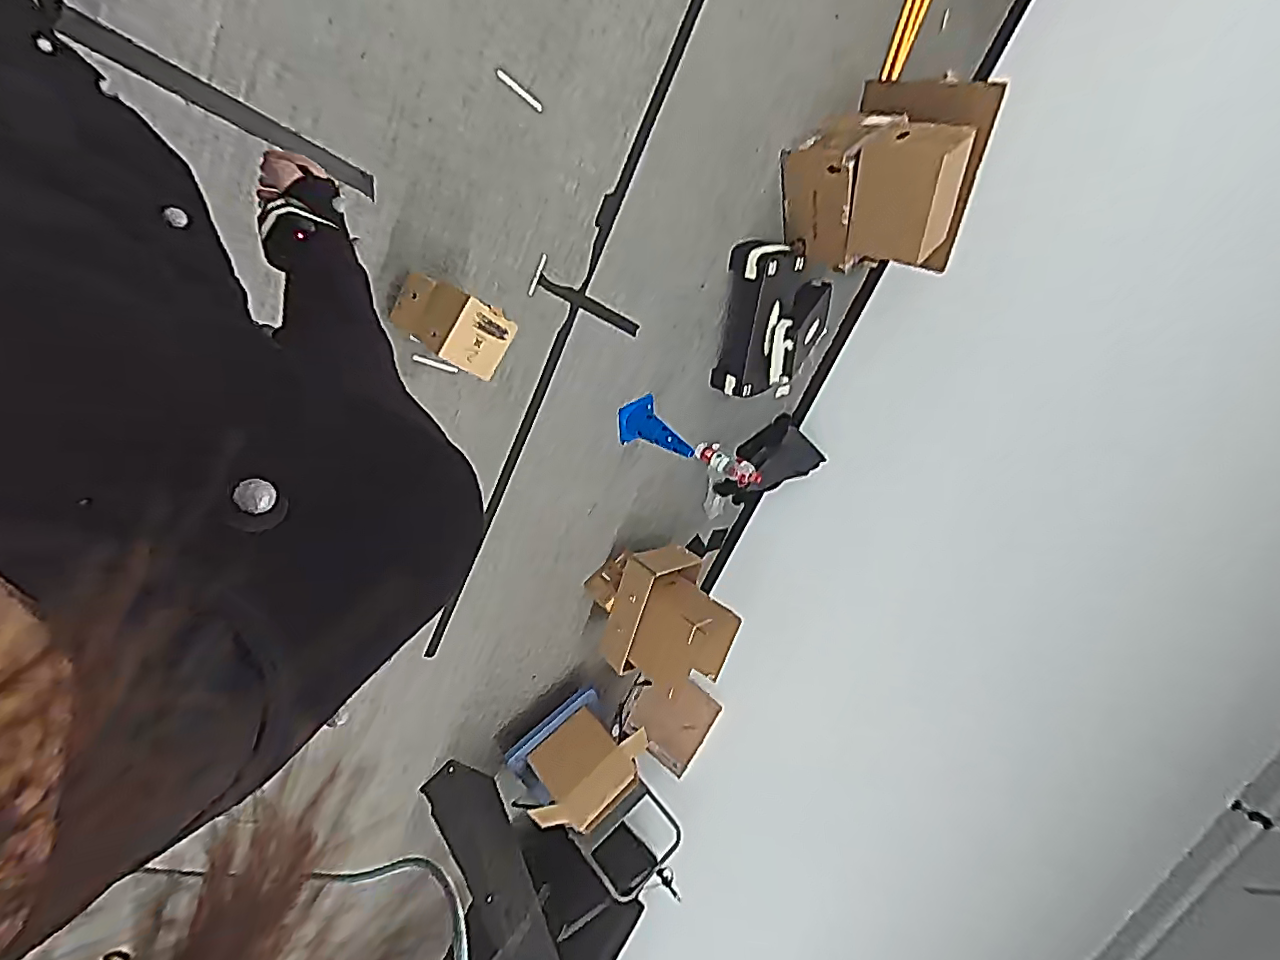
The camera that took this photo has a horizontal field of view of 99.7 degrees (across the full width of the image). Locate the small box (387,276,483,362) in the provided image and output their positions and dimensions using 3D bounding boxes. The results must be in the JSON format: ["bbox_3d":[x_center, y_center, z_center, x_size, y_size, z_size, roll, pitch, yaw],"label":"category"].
[{"bbox_3d":[-0.590,-0.463,1.545,0.179,0.176,0.168,16,105,-52],"label":"small box"}]
